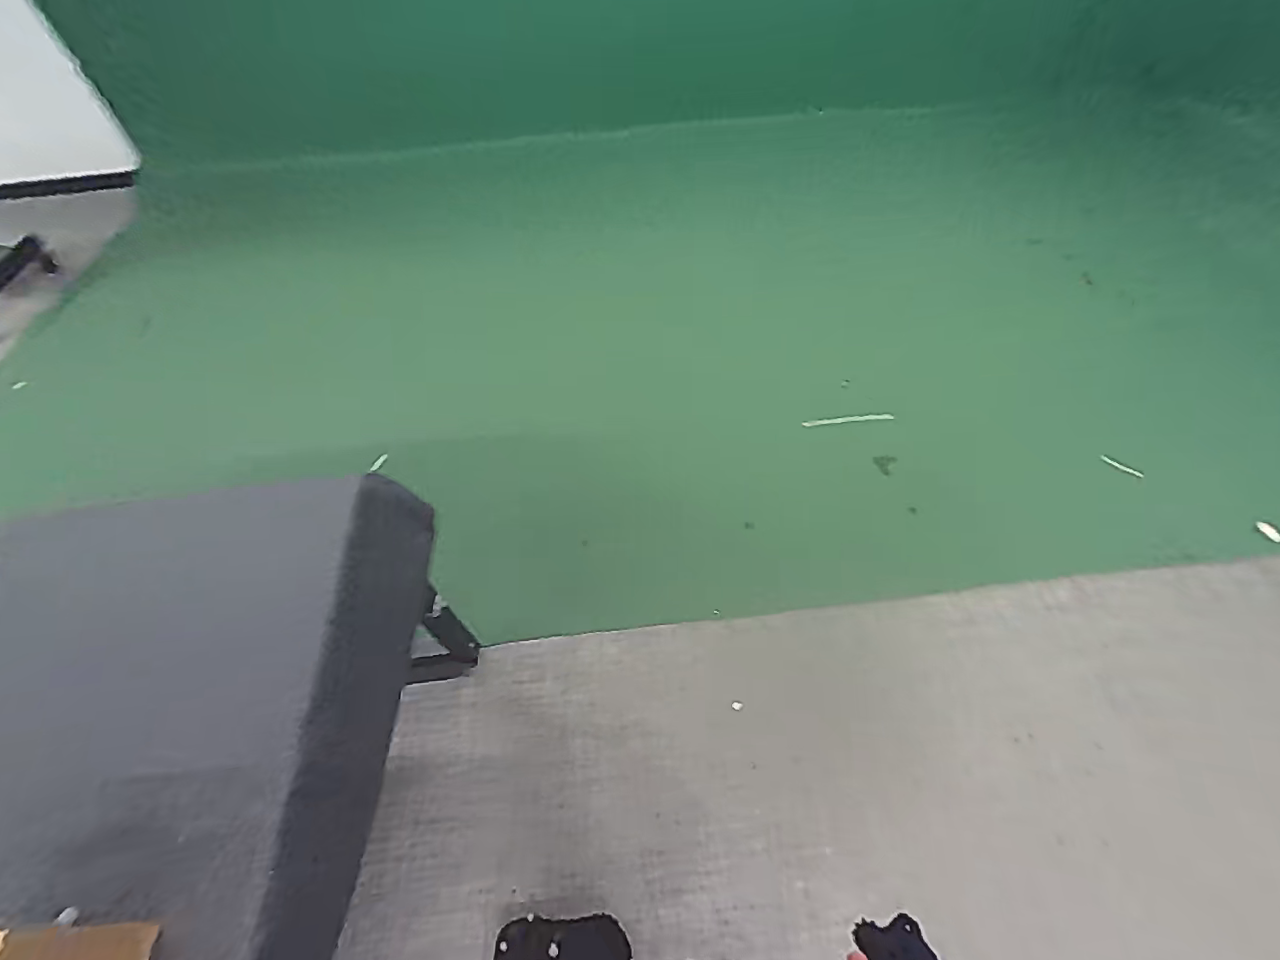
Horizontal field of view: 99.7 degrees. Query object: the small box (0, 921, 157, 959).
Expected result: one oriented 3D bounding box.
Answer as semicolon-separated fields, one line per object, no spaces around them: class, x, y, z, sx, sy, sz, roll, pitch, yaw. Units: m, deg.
small box;-0.554;0.478;0.433;0.168;0.176;0.179;-6;52;-2
